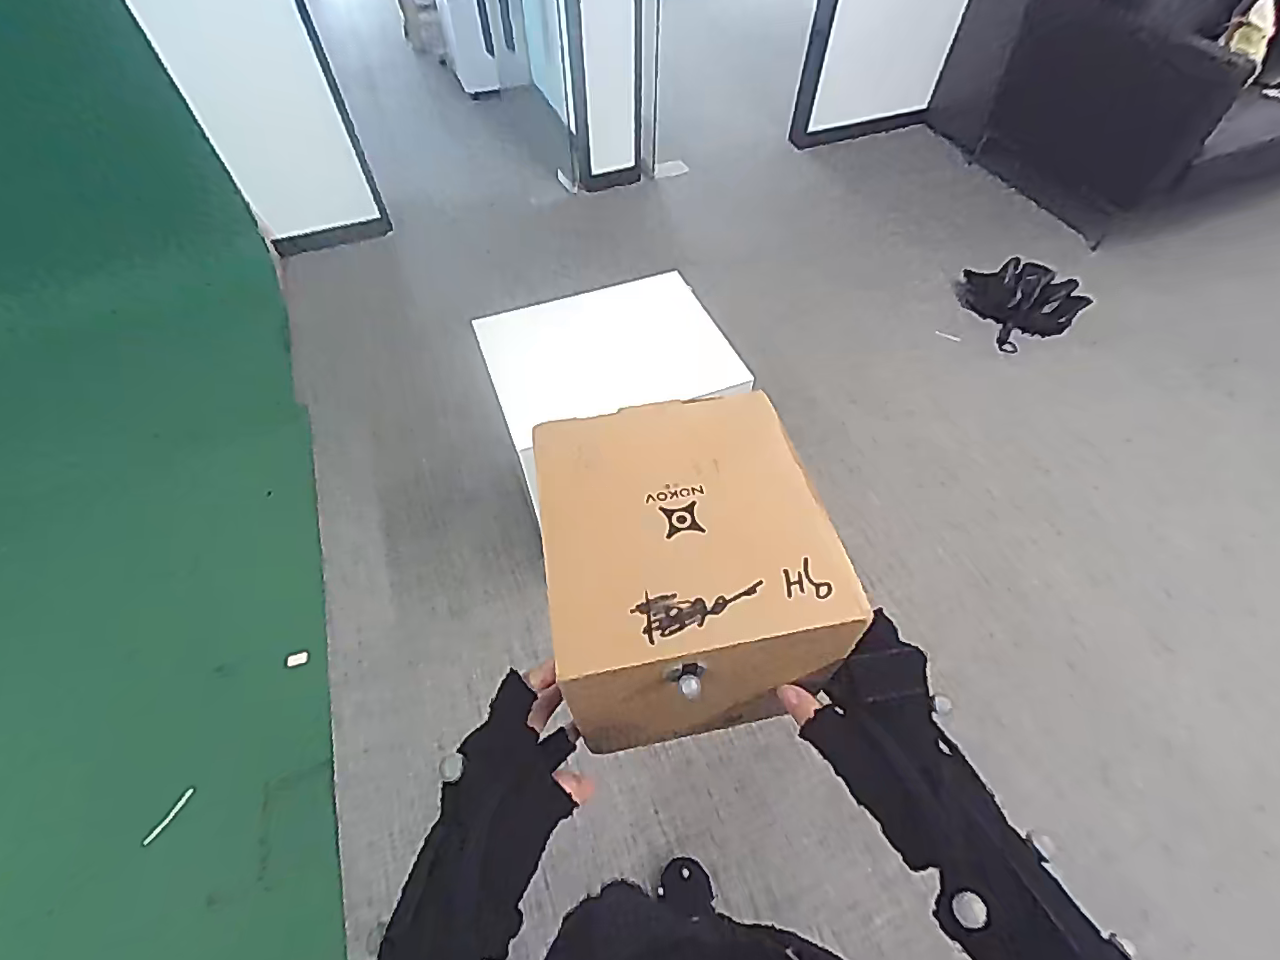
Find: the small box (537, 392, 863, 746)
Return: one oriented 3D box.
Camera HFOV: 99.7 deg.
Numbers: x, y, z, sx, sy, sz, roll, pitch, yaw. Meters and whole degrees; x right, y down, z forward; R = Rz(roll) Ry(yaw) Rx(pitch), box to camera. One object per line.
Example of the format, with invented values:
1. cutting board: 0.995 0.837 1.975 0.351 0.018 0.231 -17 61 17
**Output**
1. small box: 0.025 0.066 0.390 0.168 0.176 0.179 -11 51 -5
